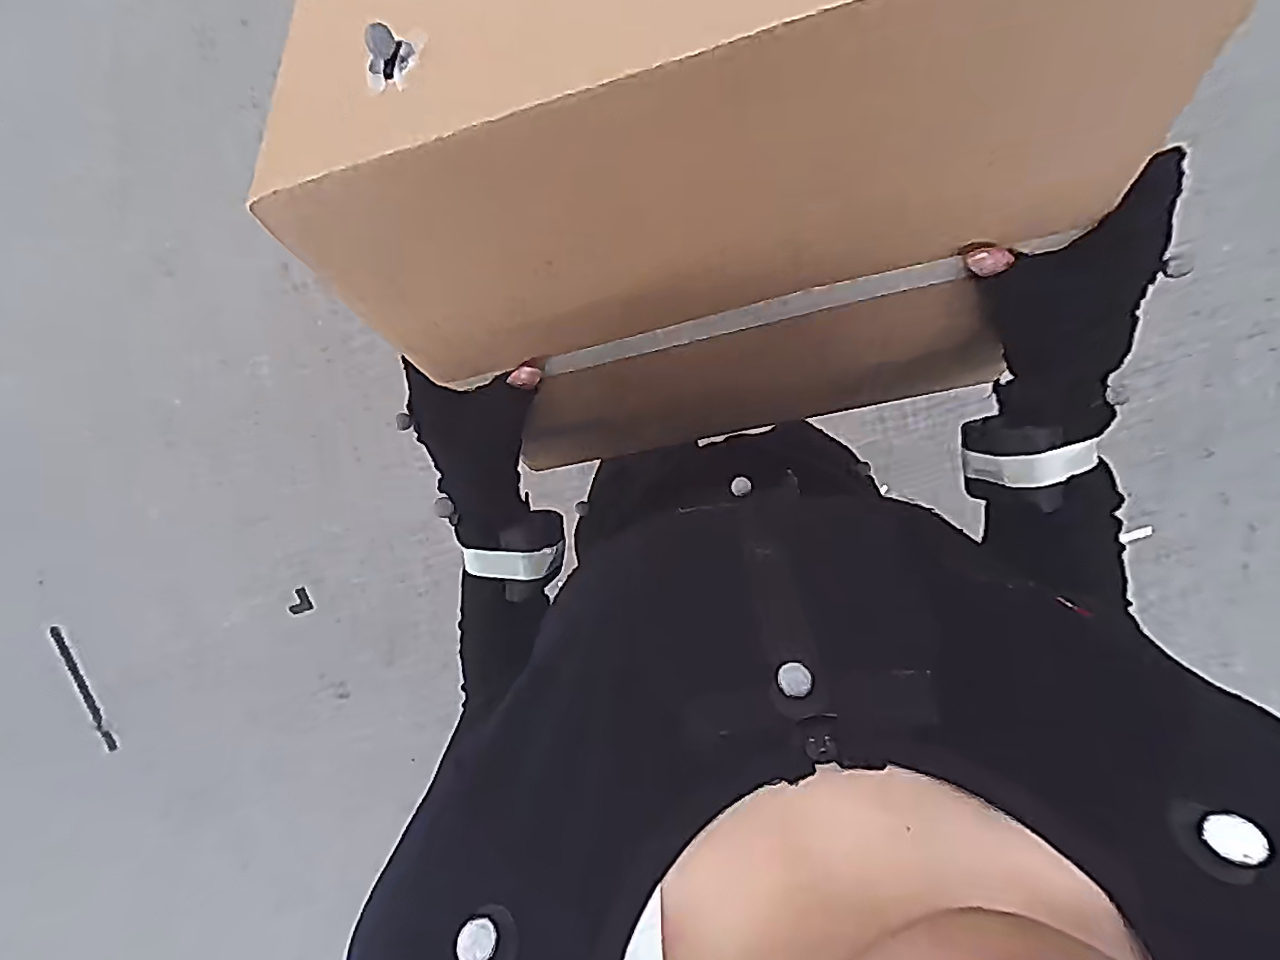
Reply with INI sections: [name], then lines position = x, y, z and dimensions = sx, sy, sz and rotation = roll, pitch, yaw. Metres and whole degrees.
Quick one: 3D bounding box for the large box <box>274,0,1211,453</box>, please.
[large box]
position = 0.041, -0.253, 0.401
dimensions = 0.408, 0.320, 0.320
rotation = -10, 68, 10
